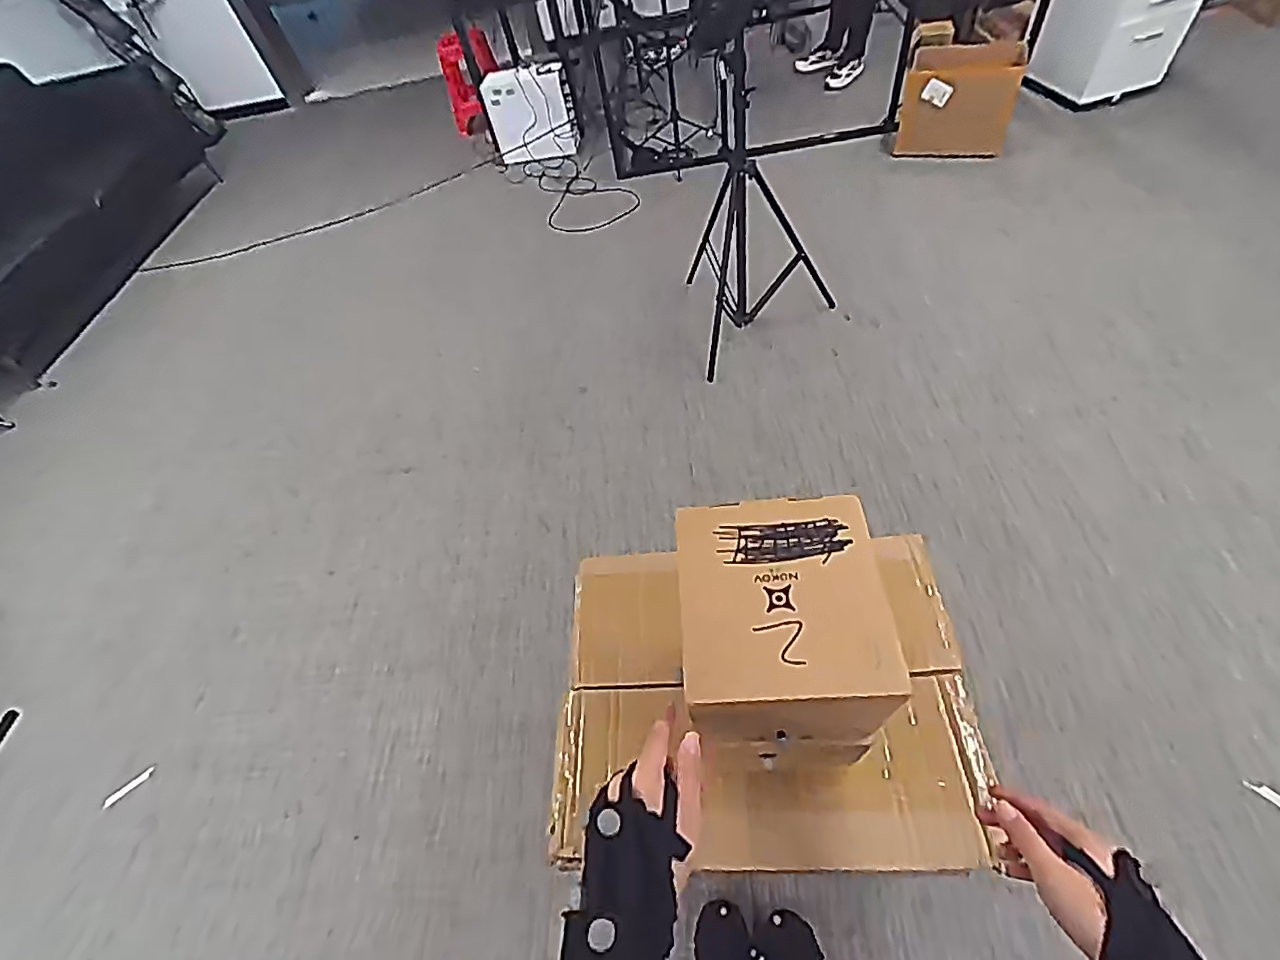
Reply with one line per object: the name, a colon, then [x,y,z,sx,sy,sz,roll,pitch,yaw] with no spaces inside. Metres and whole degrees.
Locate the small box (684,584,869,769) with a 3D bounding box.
small box: [0.148,0.236,0.635,0.179,0.176,0.168,-5,54,7]
